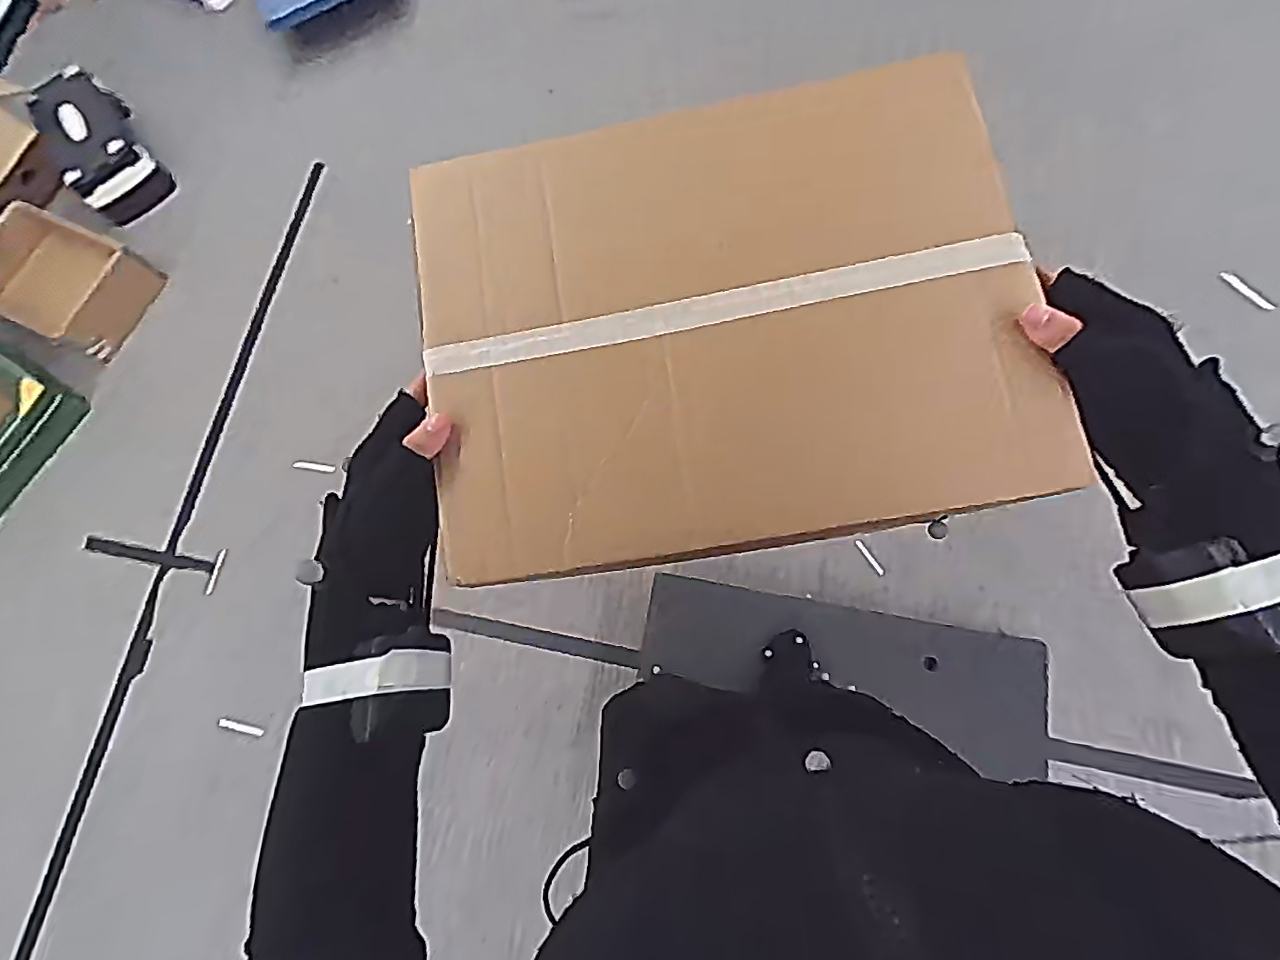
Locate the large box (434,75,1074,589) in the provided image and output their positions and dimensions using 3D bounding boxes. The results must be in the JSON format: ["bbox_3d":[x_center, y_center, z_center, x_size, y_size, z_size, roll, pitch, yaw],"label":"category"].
[{"bbox_3d":[0.075,-0.087,0.525,0.408,0.320,0.320,-10,80,5],"label":"large box"}]

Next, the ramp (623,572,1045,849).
[{"bbox_3d":[0.487,0.543,1.316,0.991,0.206,0.509,6,75,9],"label":"ramp"}]
